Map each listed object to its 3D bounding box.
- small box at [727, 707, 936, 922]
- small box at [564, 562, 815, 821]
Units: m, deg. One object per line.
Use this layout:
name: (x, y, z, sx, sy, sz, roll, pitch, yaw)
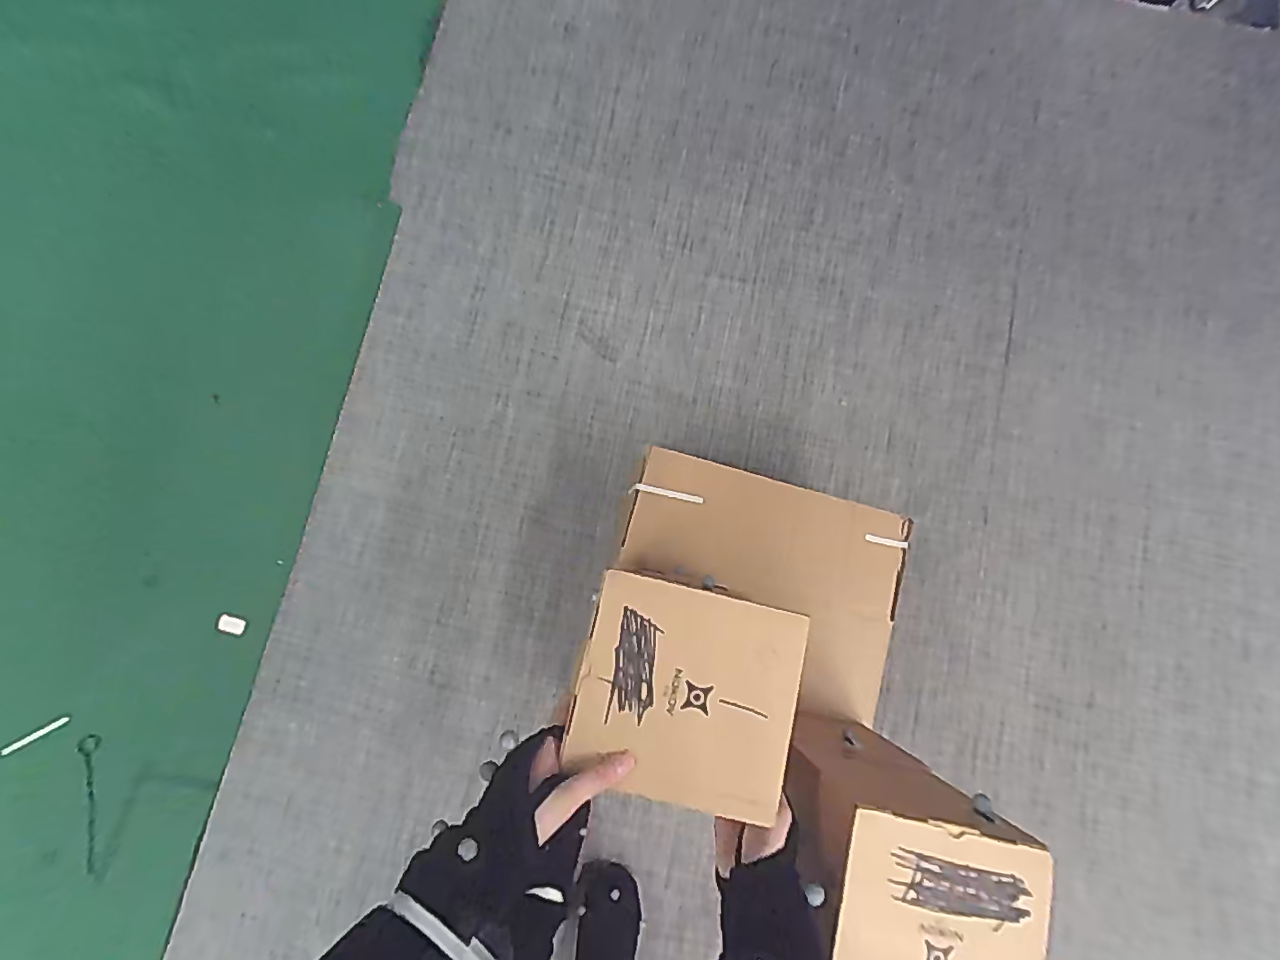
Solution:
small box: (0.219, 0.380, 0.656, 0.179, 0.176, 0.168, 13, 80, -1)
small box: (0.041, 0.180, 0.510, 0.179, 0.176, 0.168, 13, 80, 1)
